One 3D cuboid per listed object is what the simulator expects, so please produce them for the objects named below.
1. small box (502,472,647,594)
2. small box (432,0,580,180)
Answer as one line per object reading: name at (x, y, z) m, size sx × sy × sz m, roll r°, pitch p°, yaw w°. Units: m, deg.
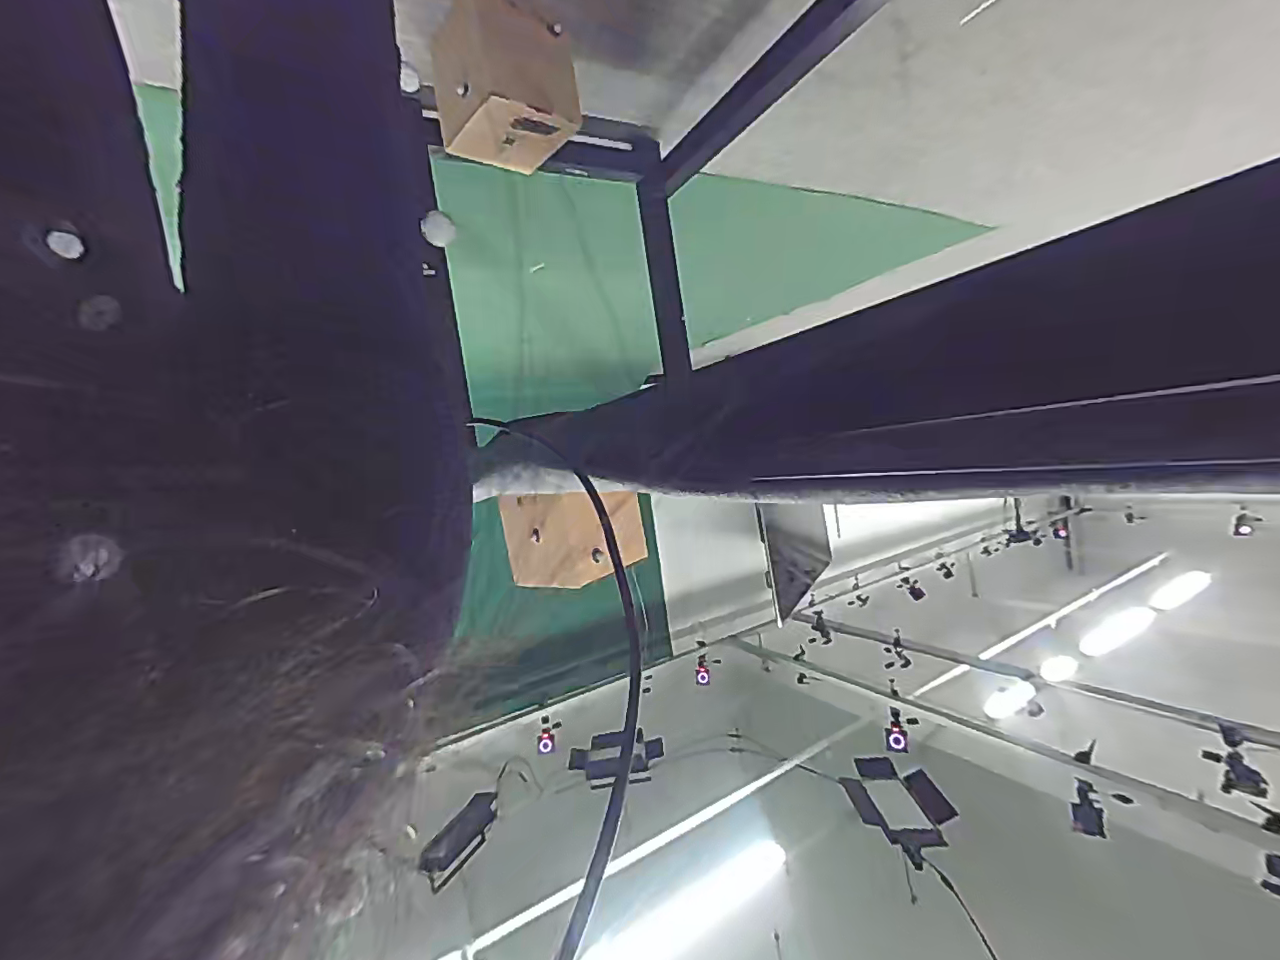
small box at (-0.115, 0.088, 0.937) m, size 0.168 × 0.176 × 0.179 m, roll -7°, pitch -174°, yaw 40°
small box at (-0.225, -0.633, 0.888) m, size 0.168 × 0.176 × 0.179 m, roll -11°, pitch -176°, yaw -42°
